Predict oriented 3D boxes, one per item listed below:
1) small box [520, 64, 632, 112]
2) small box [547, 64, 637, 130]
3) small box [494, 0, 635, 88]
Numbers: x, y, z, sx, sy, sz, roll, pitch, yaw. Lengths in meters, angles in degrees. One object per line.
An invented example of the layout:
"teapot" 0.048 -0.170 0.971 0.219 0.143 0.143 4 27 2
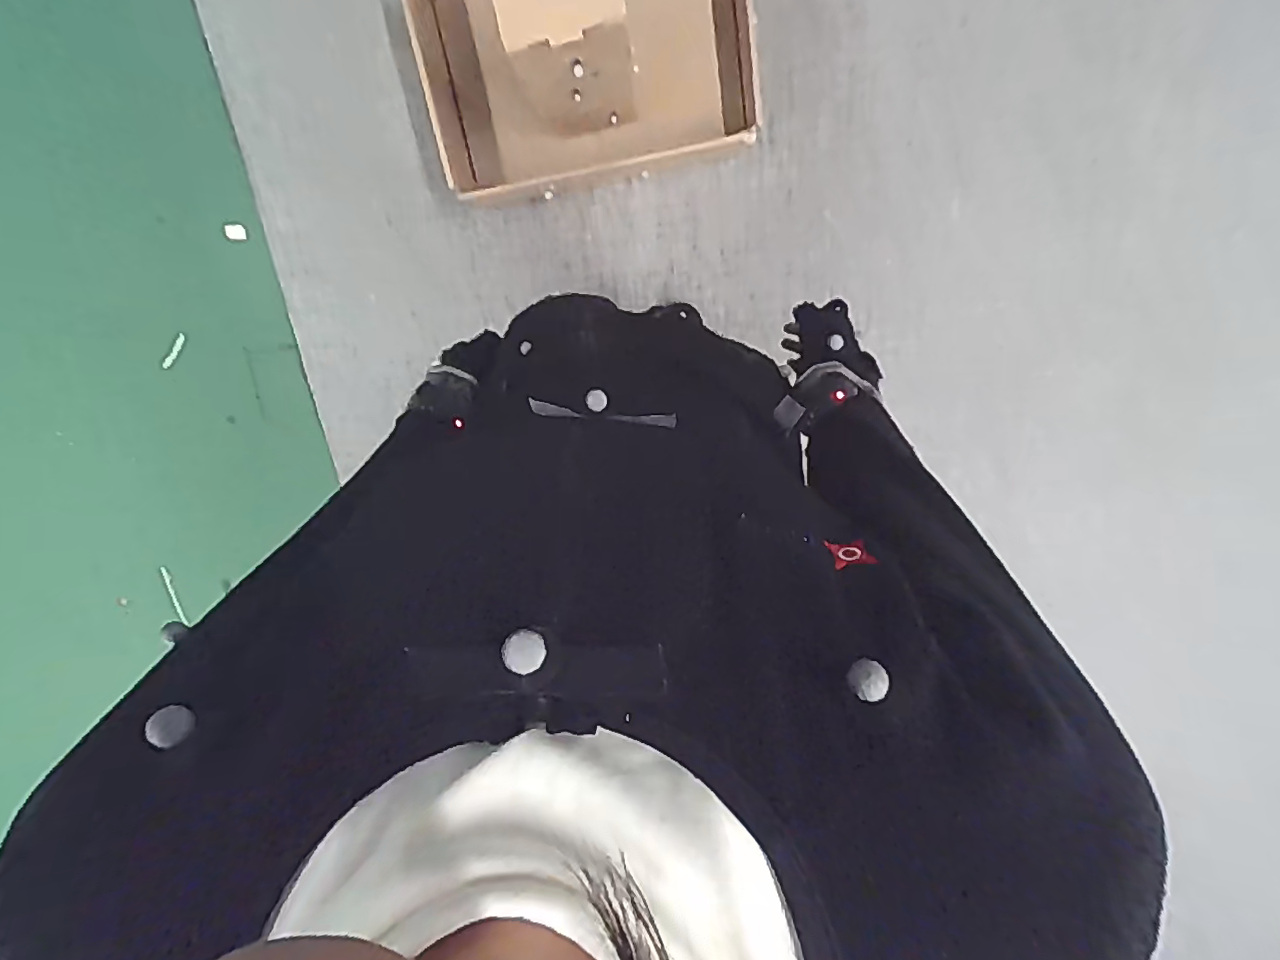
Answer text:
"small box" -0.110 -0.747 0.908 0.179 0.176 0.168 -7 109 7
"small box" -0.103 -0.802 1.044 0.168 0.176 0.179 -9 108 6
"small box" -0.109 -0.686 0.758 0.168 0.176 0.179 -11 109 9
